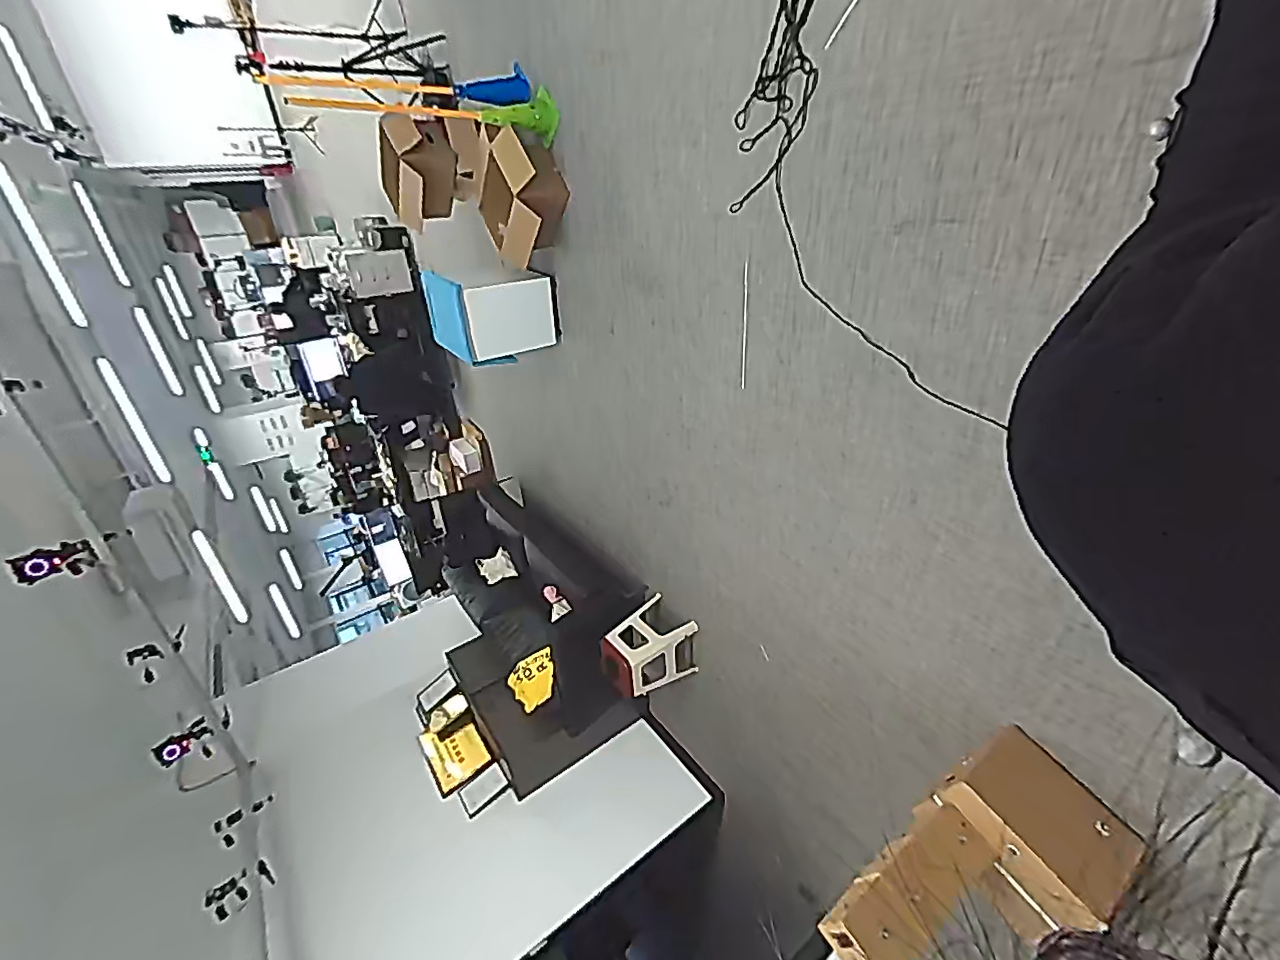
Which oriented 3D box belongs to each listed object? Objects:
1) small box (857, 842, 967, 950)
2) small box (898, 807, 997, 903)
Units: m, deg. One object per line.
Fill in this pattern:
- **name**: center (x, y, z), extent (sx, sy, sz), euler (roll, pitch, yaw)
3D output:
- **small box**: center (0.748, 1.140, 1.493), extent (0.179, 0.176, 0.168), euler (48, 146, 31)
- **small box**: center (0.885, 1.092, 1.566), extent (0.168, 0.176, 0.179), euler (48, 146, 32)
